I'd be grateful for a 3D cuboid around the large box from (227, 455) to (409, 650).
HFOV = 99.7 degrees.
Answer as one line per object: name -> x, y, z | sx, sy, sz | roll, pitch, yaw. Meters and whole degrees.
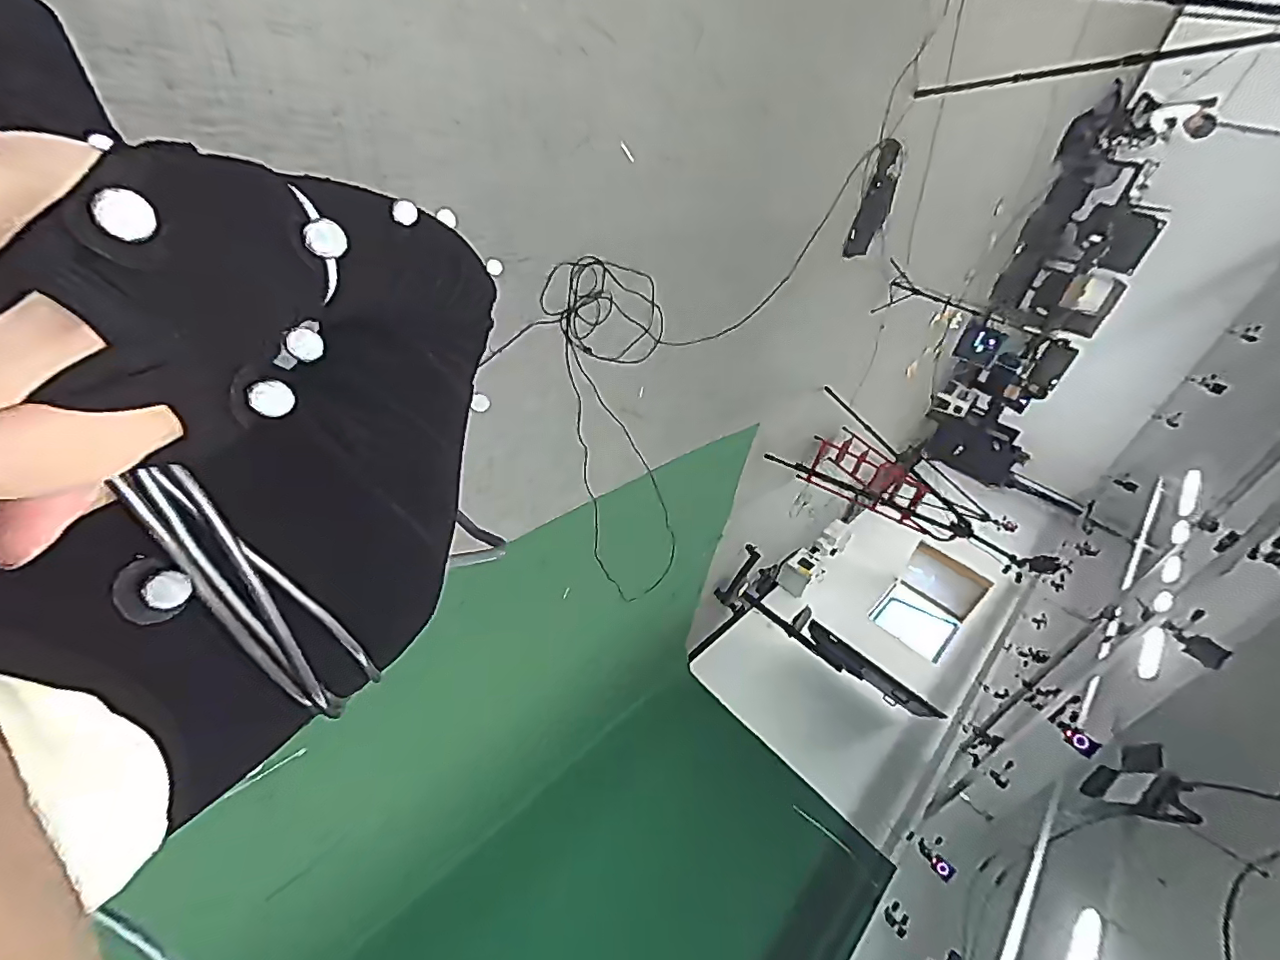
large box -> -0.892, 0.178, 1.487 | 0.320, 0.320, 0.408 | -3, 123, -51
